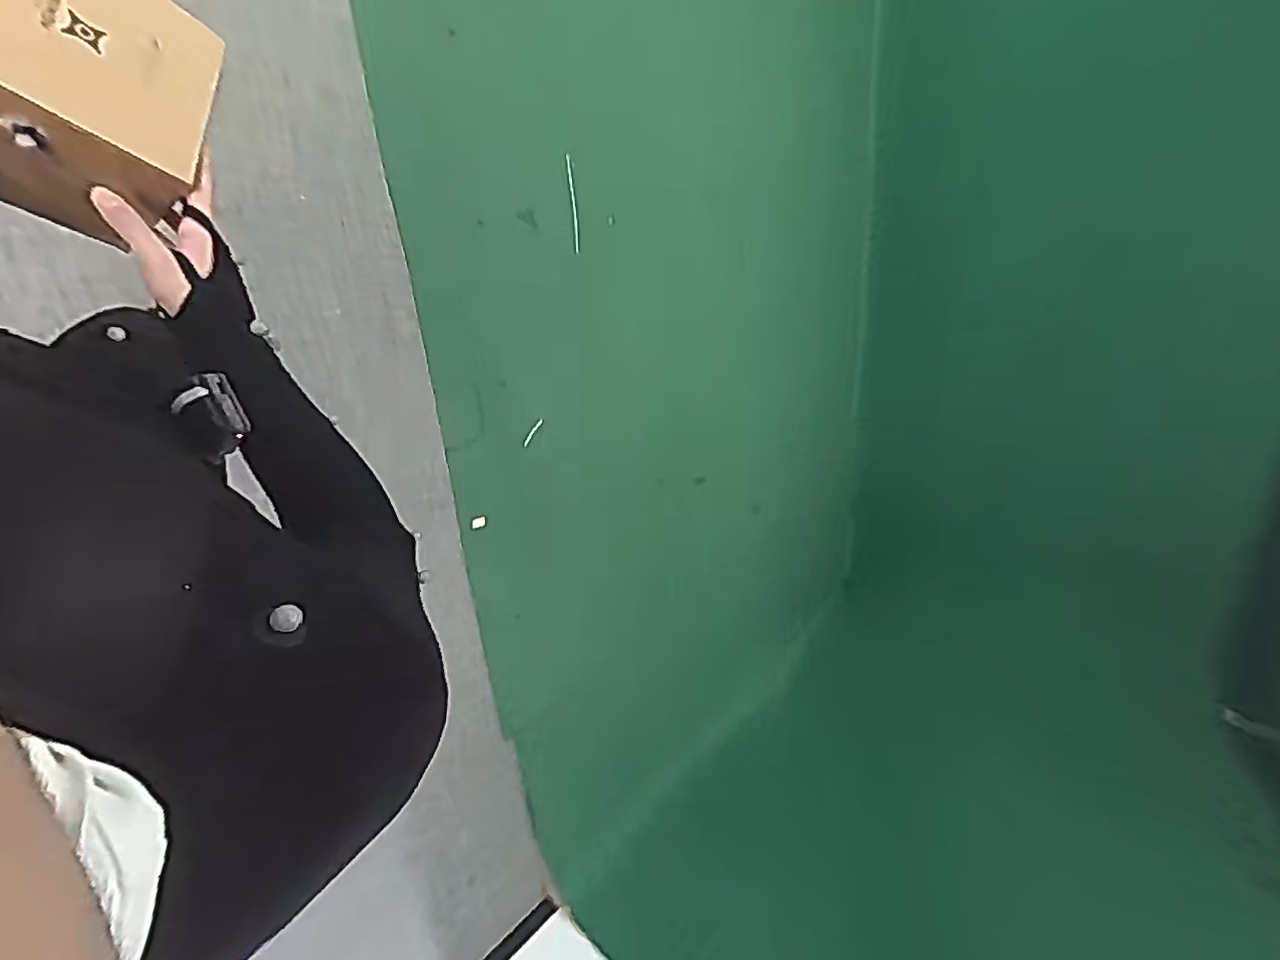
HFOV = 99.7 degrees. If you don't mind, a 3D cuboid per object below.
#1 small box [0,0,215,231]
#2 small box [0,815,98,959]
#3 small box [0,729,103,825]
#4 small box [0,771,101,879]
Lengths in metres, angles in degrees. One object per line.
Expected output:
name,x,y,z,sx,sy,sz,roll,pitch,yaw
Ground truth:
small box,-0.510,-0.349,0.458,0.179,0.176,0.168,20,64,-53
small box,-1.044,0.714,0.895,0.179,0.176,0.168,-21,114,-43
small box,-1.269,0.661,1.126,0.179,0.176,0.168,-21,113,-42
small box,-1.154,0.684,1.012,0.168,0.176,0.179,-19,113,-42
